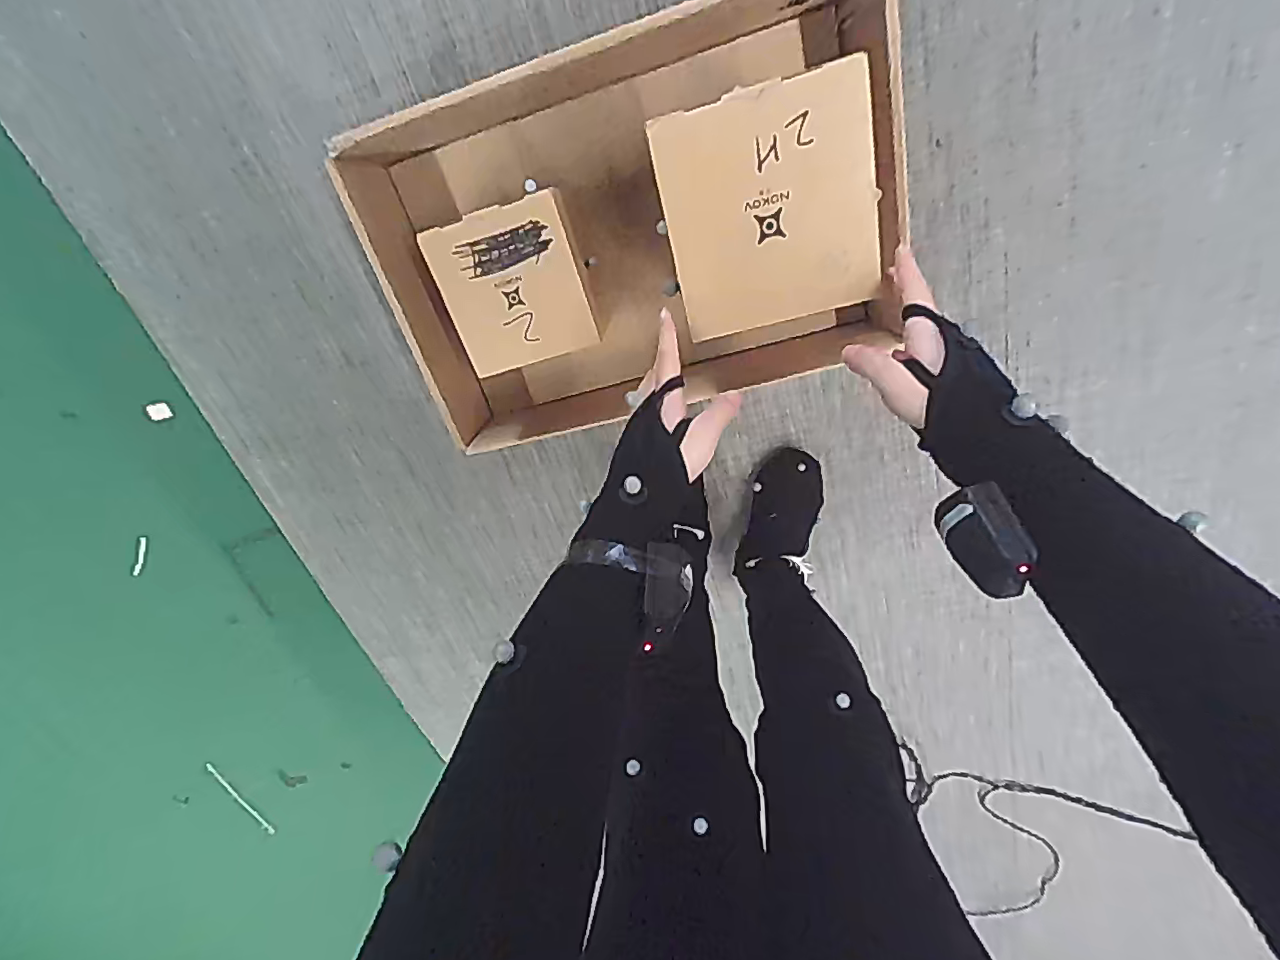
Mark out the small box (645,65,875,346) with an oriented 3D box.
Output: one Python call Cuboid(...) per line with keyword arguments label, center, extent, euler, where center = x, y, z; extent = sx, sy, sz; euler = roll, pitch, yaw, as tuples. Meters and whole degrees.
Cuboid(label="small box", center=(0.108, -0.246, 0.506), extent=(0.168, 0.176, 0.179), euler=(-11, 116, 10))
